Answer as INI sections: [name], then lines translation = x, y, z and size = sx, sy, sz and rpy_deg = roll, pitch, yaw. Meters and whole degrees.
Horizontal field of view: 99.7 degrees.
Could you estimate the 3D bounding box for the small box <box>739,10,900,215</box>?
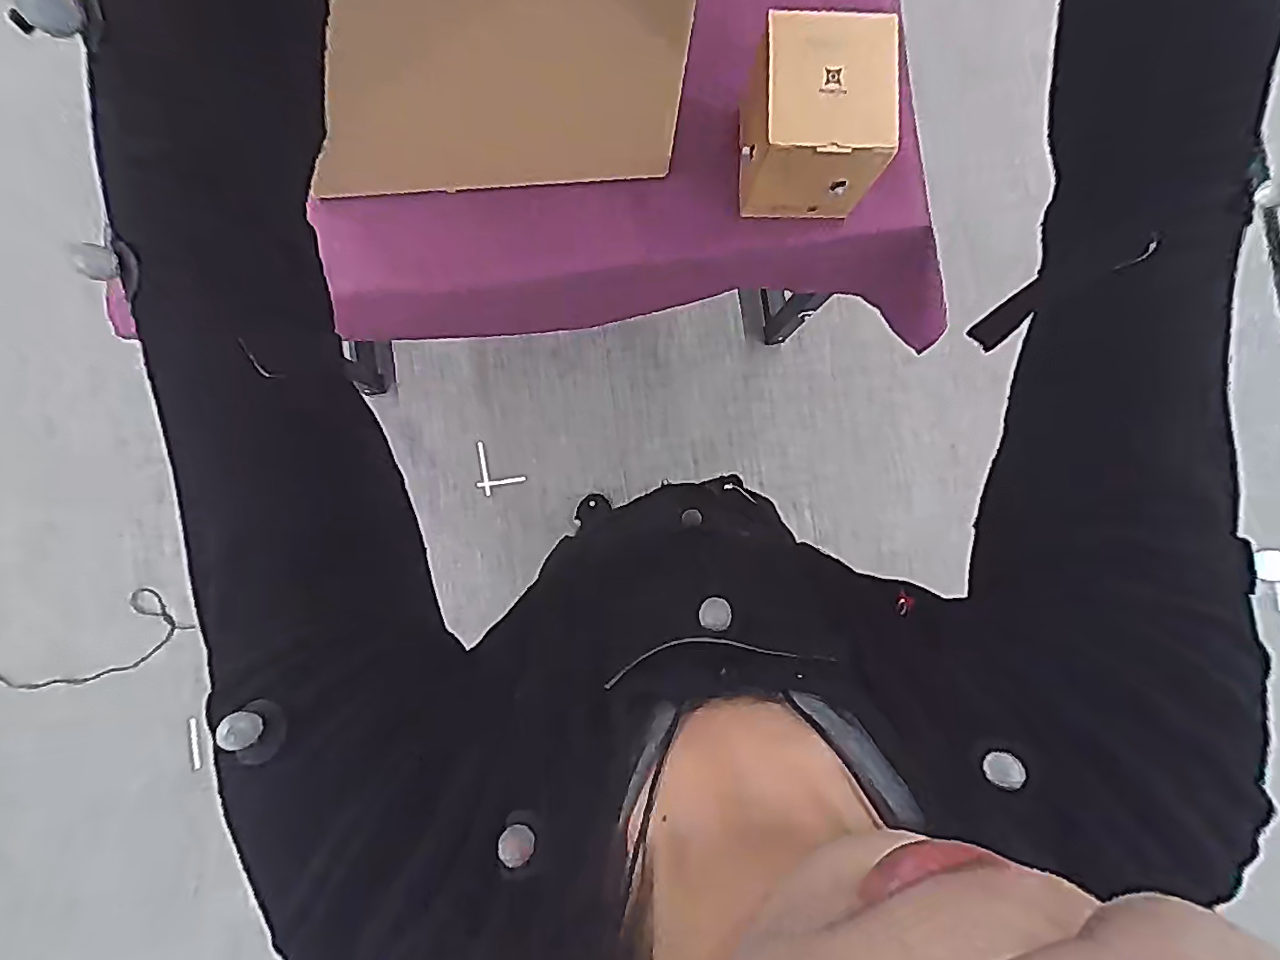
[small box]
translation = 0.237, -0.491, 0.747
size = 0.168, 0.176, 0.179
rpy_deg = 0, 87, -3
